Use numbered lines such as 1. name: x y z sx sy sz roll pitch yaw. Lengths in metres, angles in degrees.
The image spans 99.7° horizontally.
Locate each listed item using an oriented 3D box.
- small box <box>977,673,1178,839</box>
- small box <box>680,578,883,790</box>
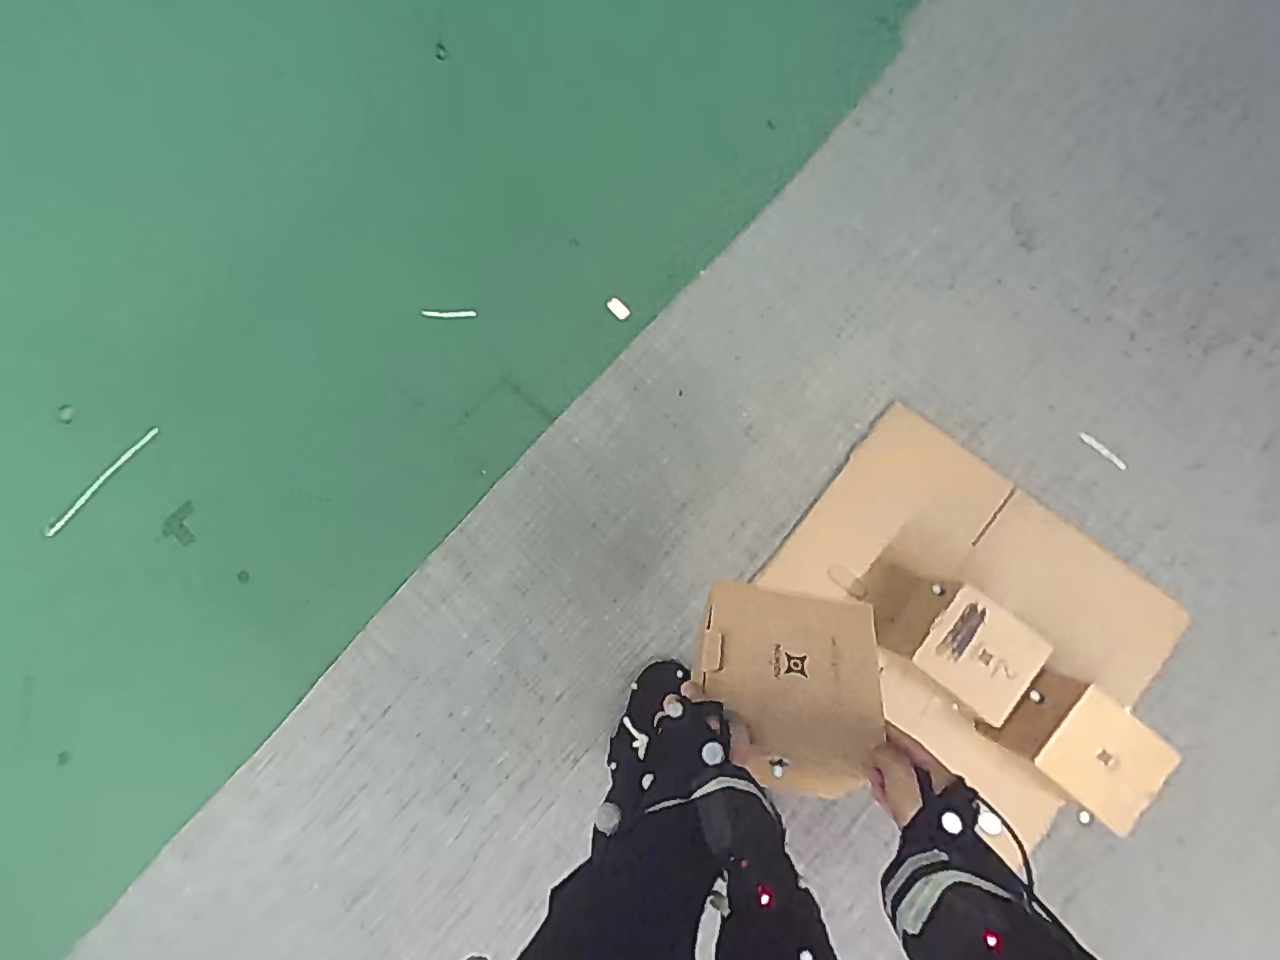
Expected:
1. small box: 0.742 0.461 0.941 0.179 0.176 0.168 41 85 6
2. small box: 0.143 0.231 0.601 0.179 0.176 0.168 8 53 3
